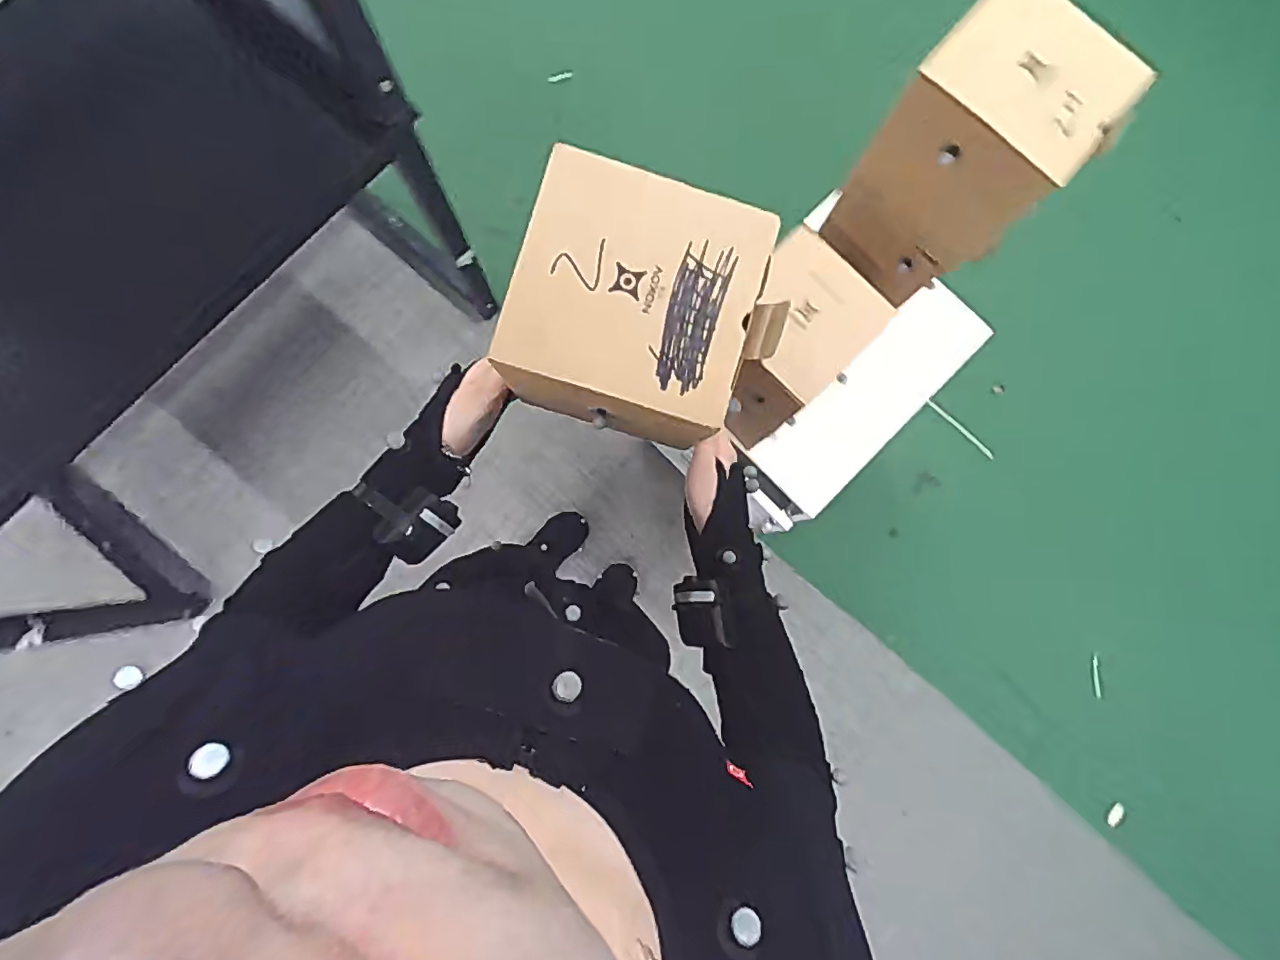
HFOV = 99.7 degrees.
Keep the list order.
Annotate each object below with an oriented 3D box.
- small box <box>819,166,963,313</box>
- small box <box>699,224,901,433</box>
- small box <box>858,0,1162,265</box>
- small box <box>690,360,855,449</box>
[{"bbox_3d":[0.377,-0.356,0.753,0.168,0.176,0.179,-40,87,-7],"label":"small box"},{"bbox_3d":[0.195,-0.186,0.721,0.179,0.176,0.168,-44,88,-8],"label":"small box"},{"bbox_3d":[0.379,-0.376,0.590,0.179,0.176,0.168,42,84,2],"label":"small box"},{"bbox_3d":[0.203,-0.173,0.883,0.168,0.176,0.179,-41,87,-8],"label":"small box"}]
